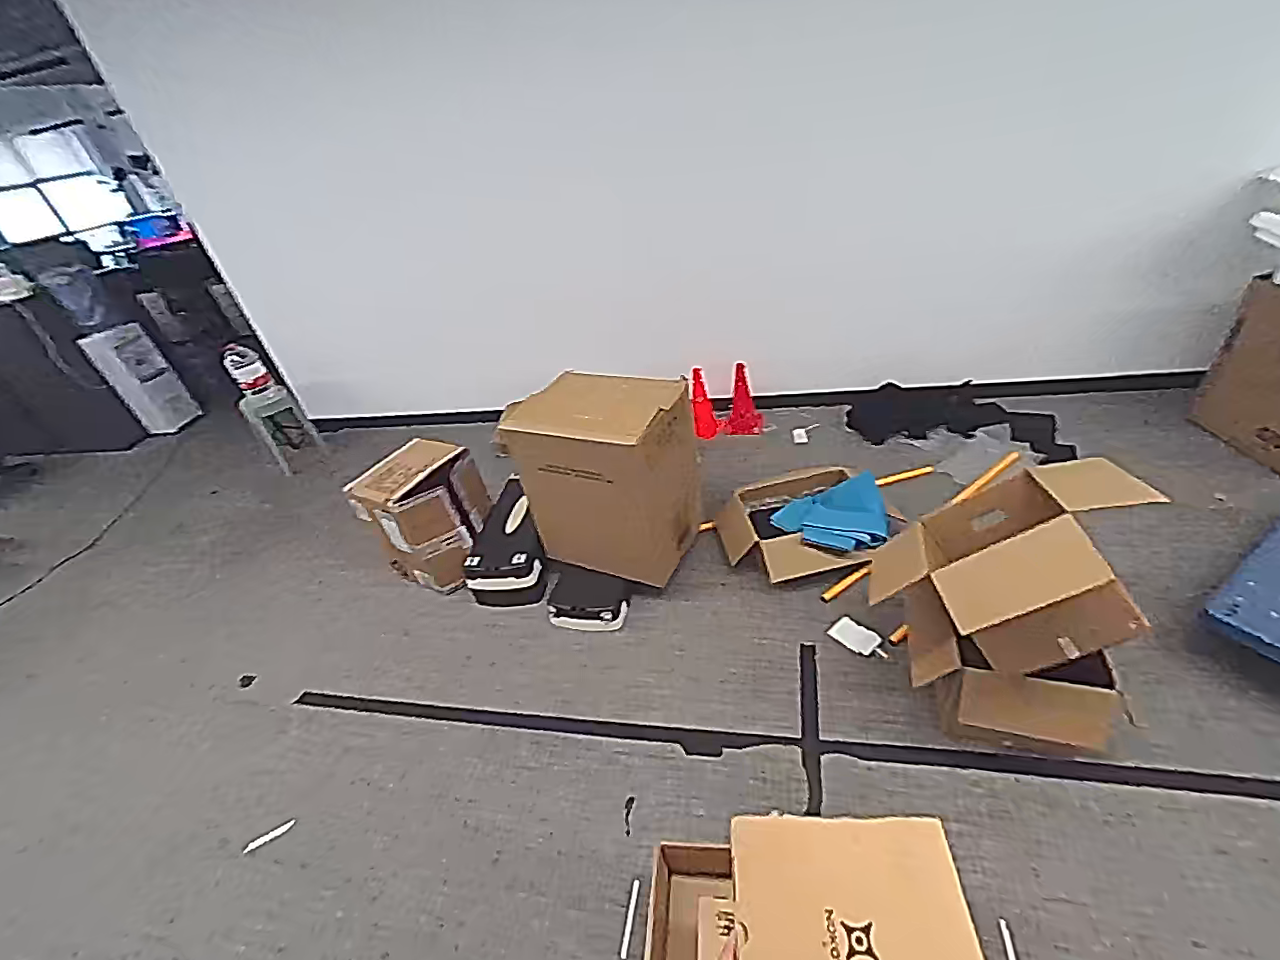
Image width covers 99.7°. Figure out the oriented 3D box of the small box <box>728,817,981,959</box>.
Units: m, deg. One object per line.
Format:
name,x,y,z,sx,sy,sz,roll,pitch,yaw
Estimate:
small box,0.172,0.402,0.450,0.179,0.176,0.168,-7,39,11
